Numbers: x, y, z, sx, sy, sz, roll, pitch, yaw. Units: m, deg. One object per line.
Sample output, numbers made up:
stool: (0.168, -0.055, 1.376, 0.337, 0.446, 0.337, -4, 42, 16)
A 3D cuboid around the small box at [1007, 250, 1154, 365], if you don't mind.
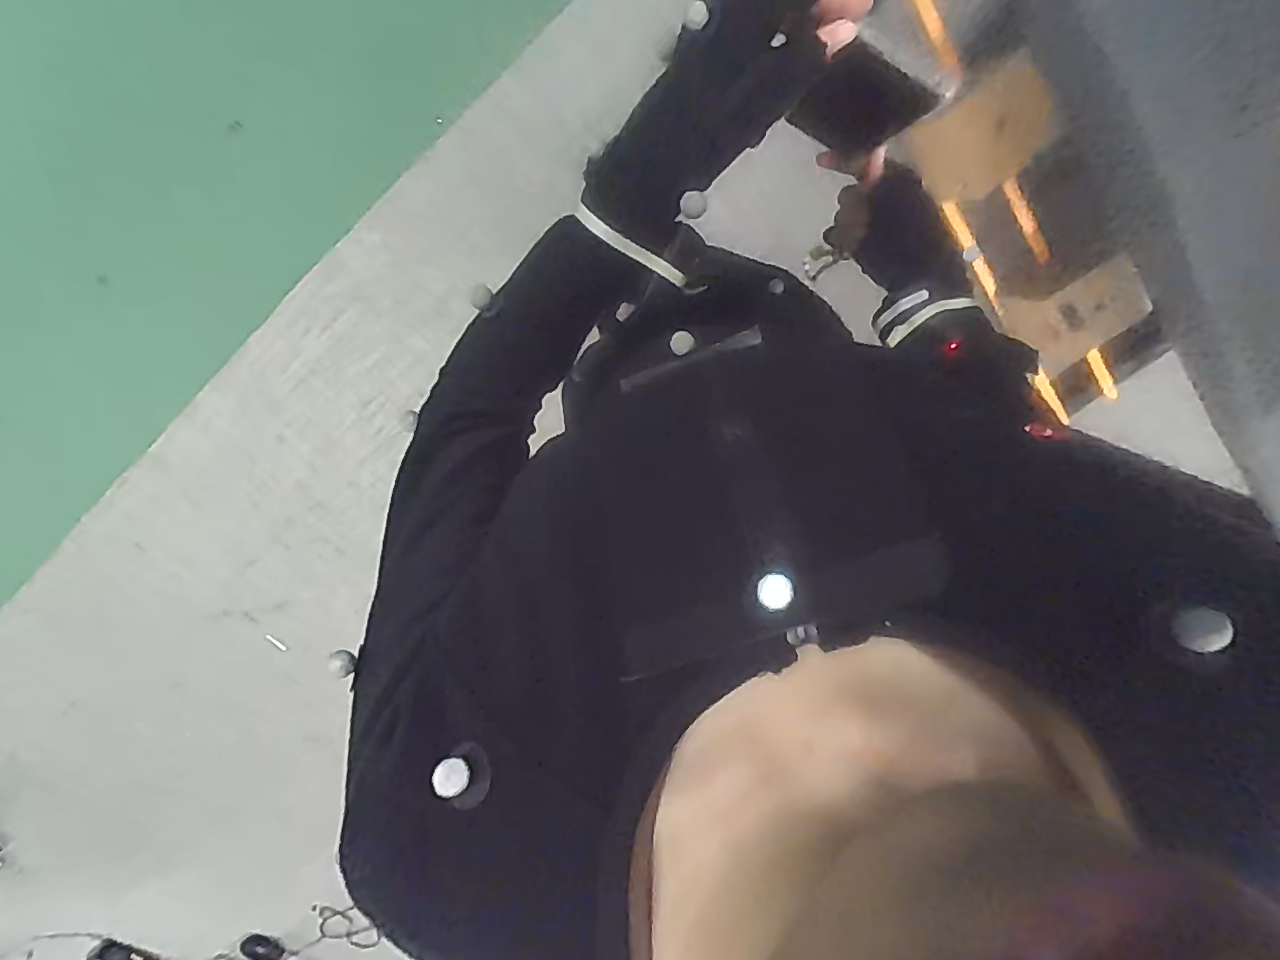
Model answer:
small box: (0.951, -0.381, 1.189, 0.179, 0.176, 0.168, -34, 110, 12)
